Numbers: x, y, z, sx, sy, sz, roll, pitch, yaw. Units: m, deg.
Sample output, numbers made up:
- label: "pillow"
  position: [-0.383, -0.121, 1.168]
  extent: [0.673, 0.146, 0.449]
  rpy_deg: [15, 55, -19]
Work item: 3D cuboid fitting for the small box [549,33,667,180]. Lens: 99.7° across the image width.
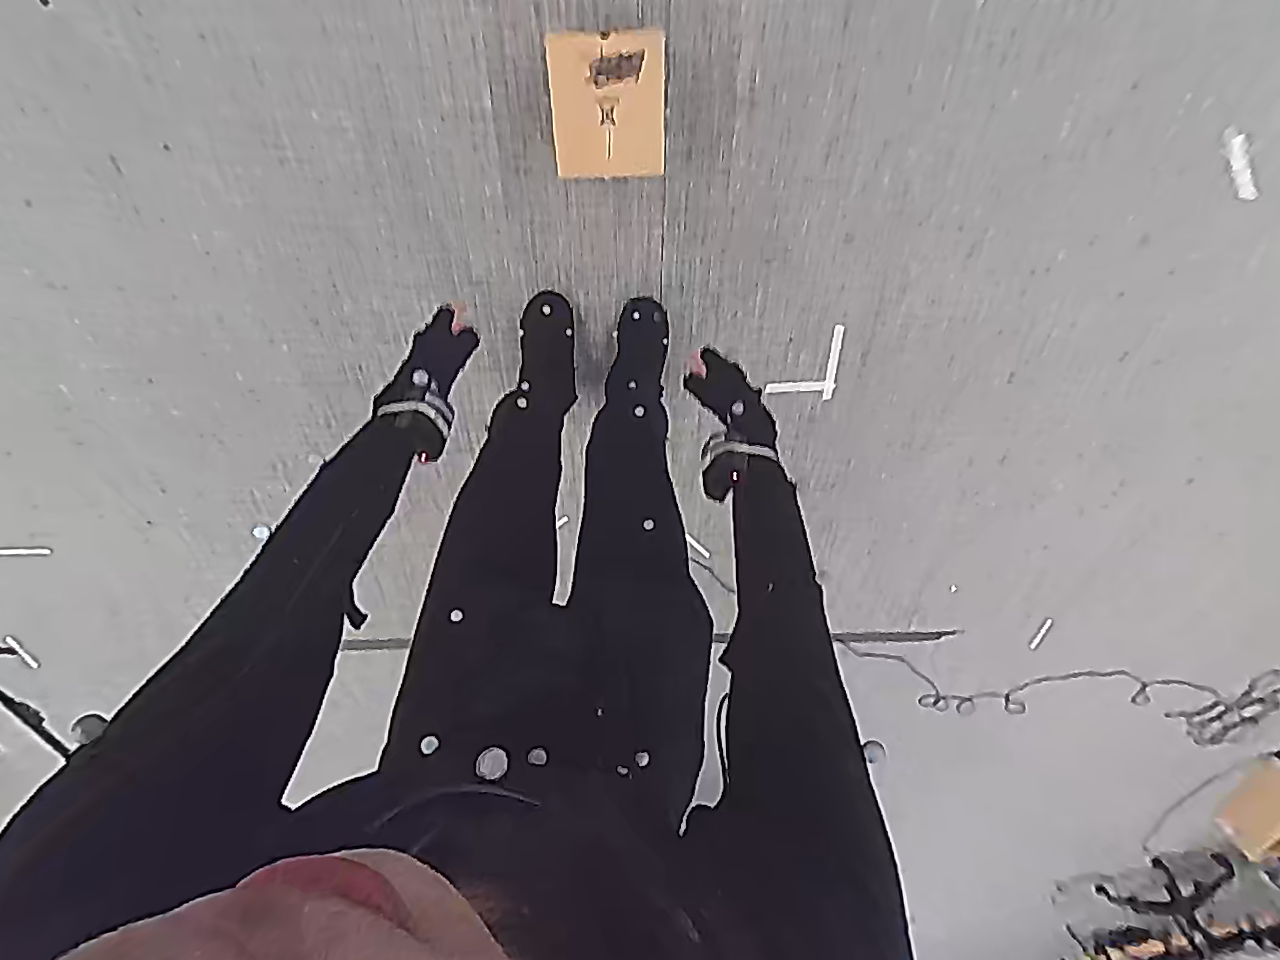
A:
- label: "small box"
  position: [-0.049, -0.578, 0.848]
  extent: [0.168, 0.176, 0.179]
  rpy_deg: [-2, 125, -2]
